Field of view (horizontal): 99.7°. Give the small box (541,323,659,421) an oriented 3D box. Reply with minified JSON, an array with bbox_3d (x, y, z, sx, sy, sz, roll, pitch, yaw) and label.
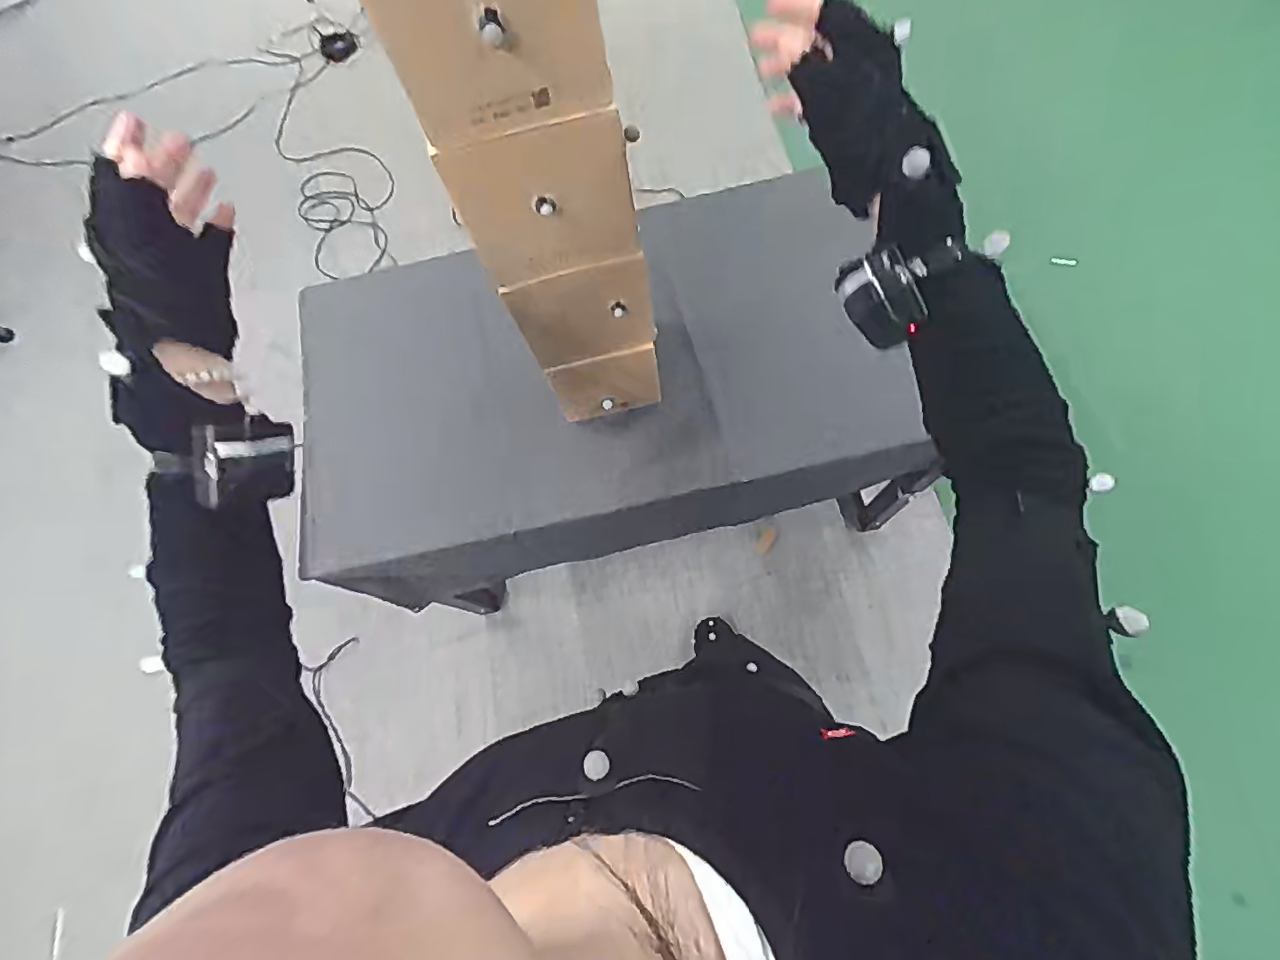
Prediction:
[{"bbox_3d":[-0.067,-0.220,0.872,0.168,0.176,0.179,-12,69,2],"label":"small box"}]

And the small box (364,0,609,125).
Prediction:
[{"bbox_3d":[-0.127,-0.417,0.428,0.168,0.176,0.179,-13,68,1],"label":"small box"}]

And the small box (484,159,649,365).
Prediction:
[{"bbox_3d":[-0.088,-0.280,0.722,0.179,0.176,0.168,-14,67,1],"label":"small box"}]
